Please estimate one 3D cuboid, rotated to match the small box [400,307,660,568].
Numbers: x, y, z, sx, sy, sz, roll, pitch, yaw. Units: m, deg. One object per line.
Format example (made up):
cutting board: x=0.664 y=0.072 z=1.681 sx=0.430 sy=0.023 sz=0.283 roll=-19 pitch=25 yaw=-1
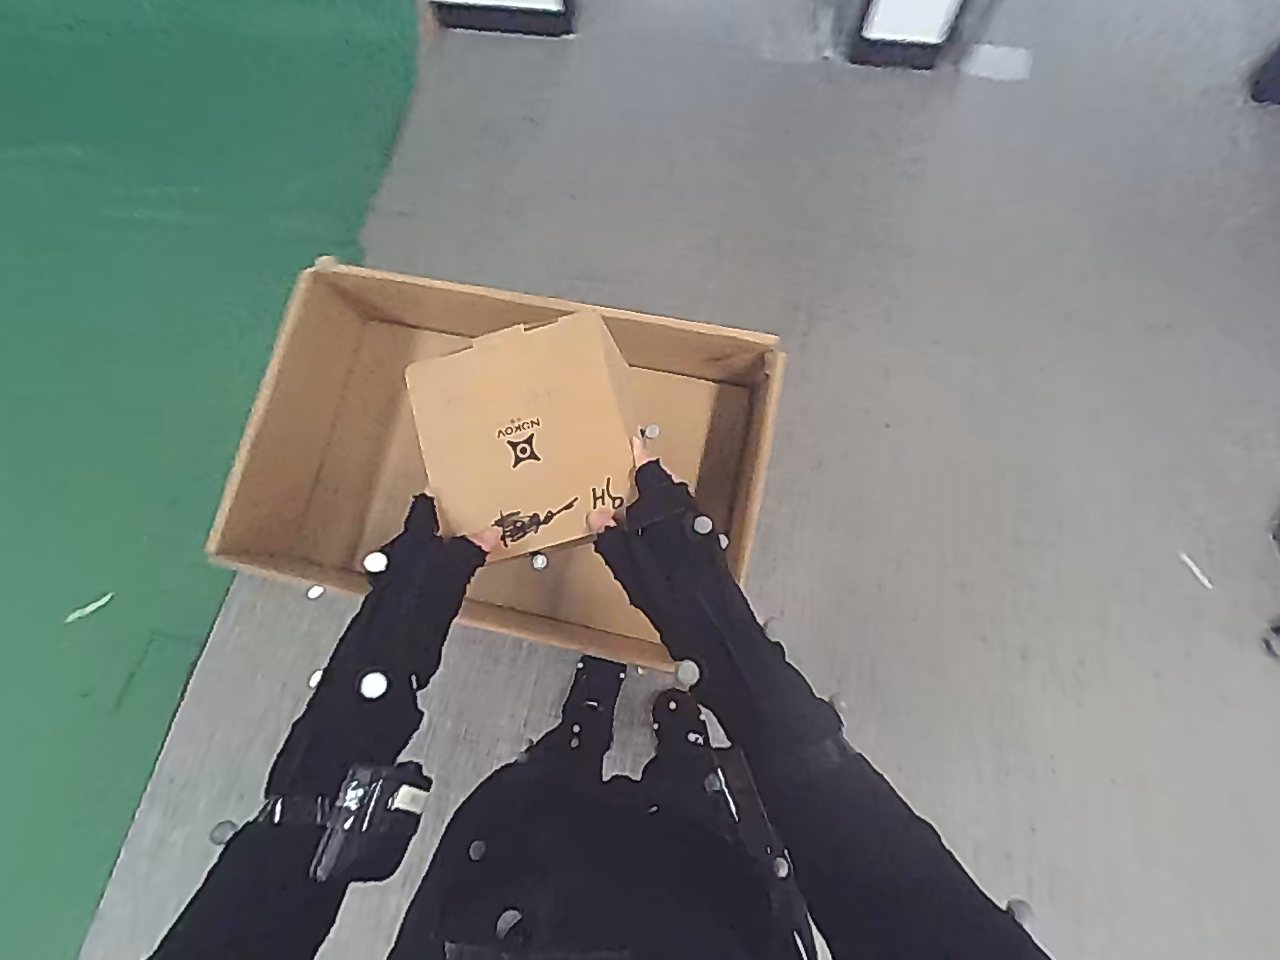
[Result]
small box: x=-0.086 y=-0.027 z=0.502 sx=0.168 sy=0.176 sz=0.179 roll=-17 pitch=84 yaw=7
